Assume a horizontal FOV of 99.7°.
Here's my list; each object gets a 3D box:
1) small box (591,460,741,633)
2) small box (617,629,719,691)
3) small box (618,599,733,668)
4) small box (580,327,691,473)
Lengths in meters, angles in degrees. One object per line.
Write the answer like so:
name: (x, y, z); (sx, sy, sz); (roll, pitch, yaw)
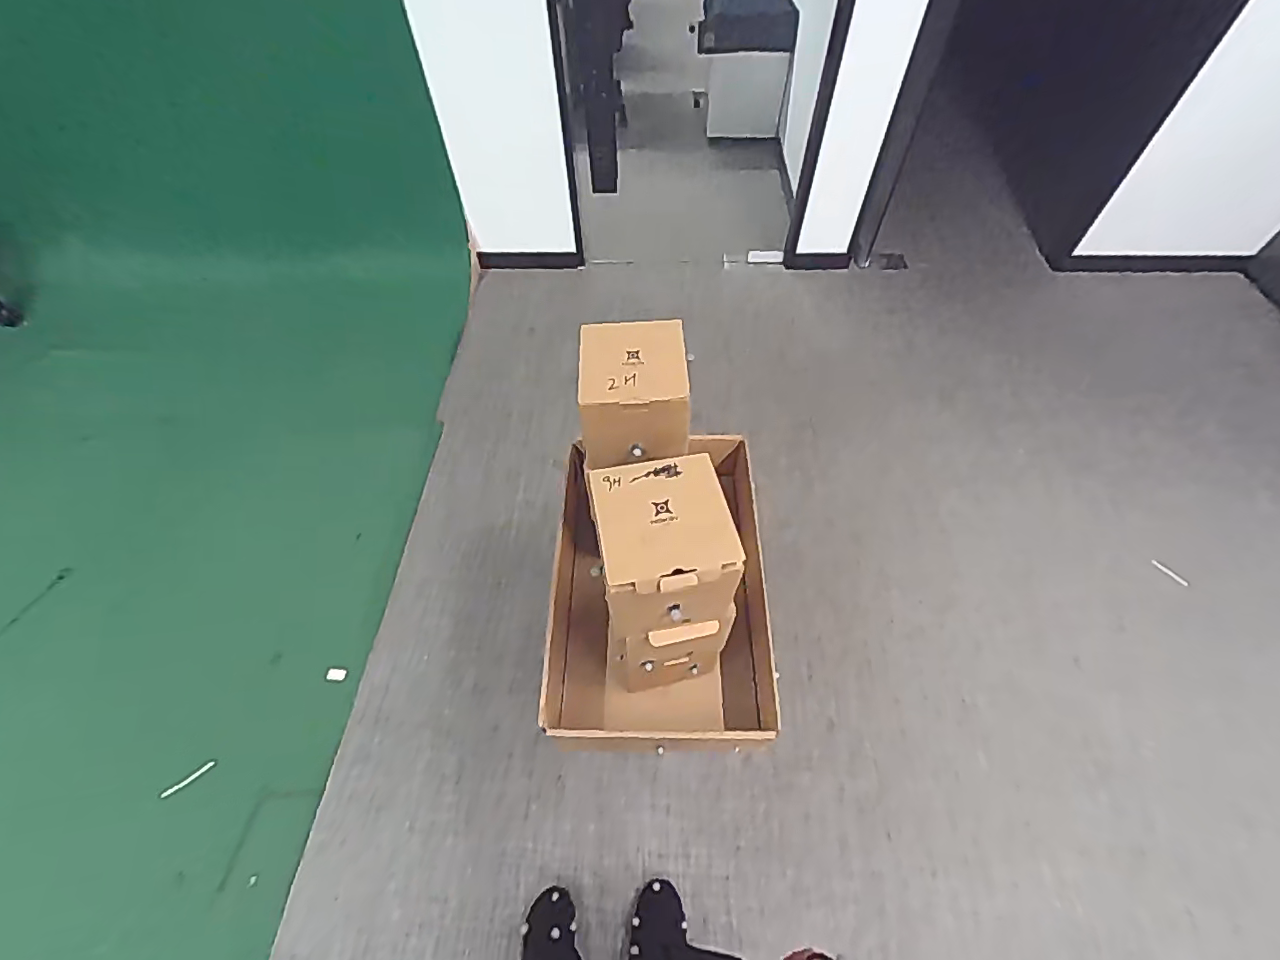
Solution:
small box: (0.028, 0.099, 0.744); (0.168, 0.176, 0.179); (-8, 56, -6)
small box: (0.042, 0.283, 1.015); (0.168, 0.176, 0.179); (-10, 55, -7)
small box: (0.042, 0.191, 0.880); (0.168, 0.176, 0.179); (-10, 55, -7)
small box: (-0.005, -0.130, 0.902); (0.168, 0.176, 0.179); (-3, 56, 1)
